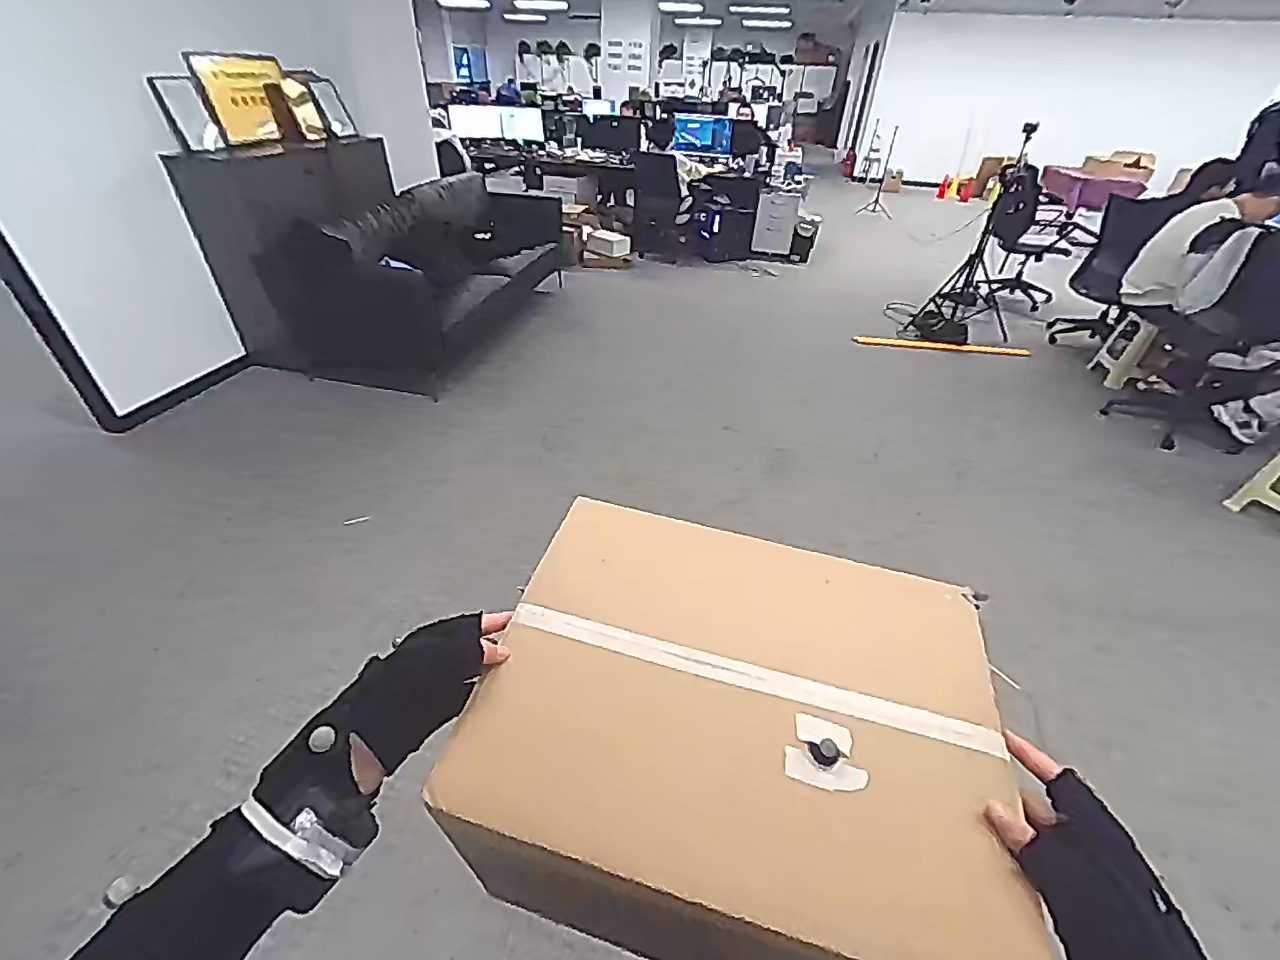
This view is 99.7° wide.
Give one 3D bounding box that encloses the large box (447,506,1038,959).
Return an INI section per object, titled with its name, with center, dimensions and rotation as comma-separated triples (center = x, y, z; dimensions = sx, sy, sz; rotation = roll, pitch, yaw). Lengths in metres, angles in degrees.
[large box]
center = 0.080, 0.274, 0.561
dimensions = 0.408, 0.320, 0.320
rotation = 12, 44, 10
